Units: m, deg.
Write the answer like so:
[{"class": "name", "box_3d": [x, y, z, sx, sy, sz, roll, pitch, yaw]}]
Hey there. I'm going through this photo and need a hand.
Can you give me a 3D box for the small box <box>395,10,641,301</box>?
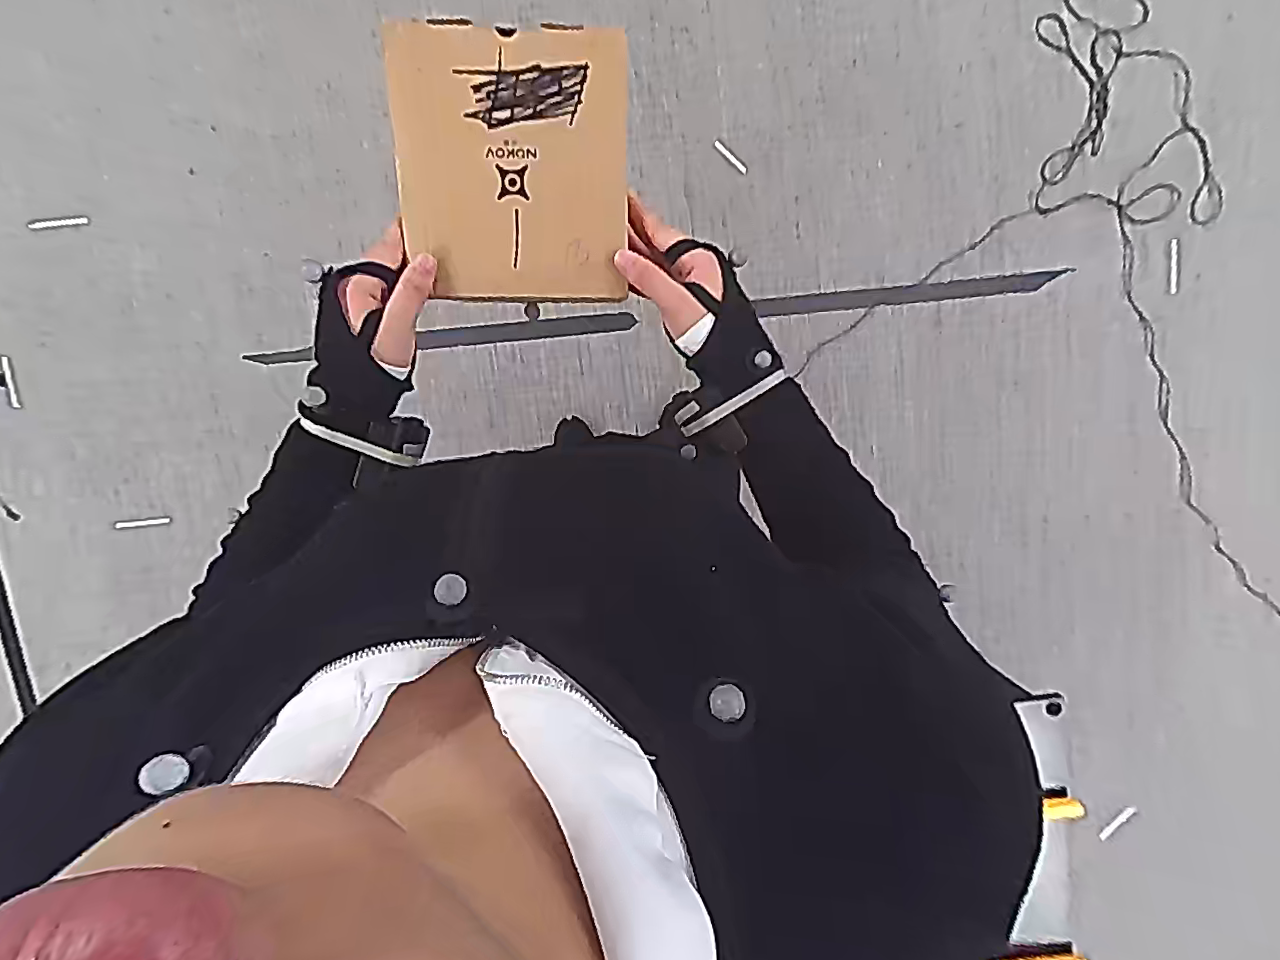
[{"class": "small box", "box_3d": [-0.089, -0.249, 0.462, 0.168, 0.176, 0.179, 0, 108, -3]}]
